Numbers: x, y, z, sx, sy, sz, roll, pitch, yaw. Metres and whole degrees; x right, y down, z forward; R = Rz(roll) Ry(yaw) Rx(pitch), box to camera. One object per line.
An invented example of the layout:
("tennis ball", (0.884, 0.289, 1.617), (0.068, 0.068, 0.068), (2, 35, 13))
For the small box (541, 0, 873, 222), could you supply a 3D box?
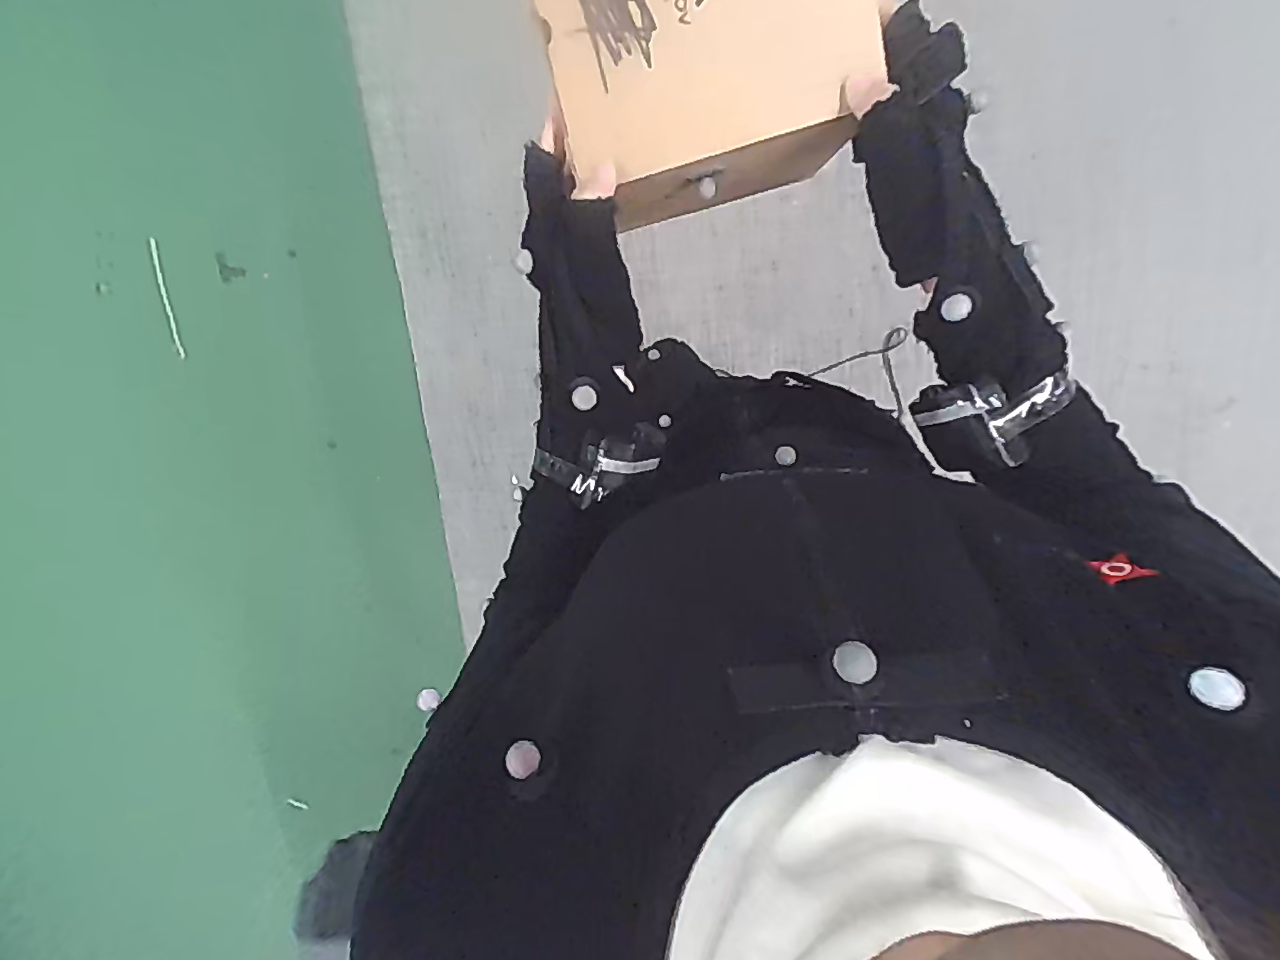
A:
("small box", (0.037, -0.294, 0.373), (0.179, 0.176, 0.168), (-12, 106, 7))
